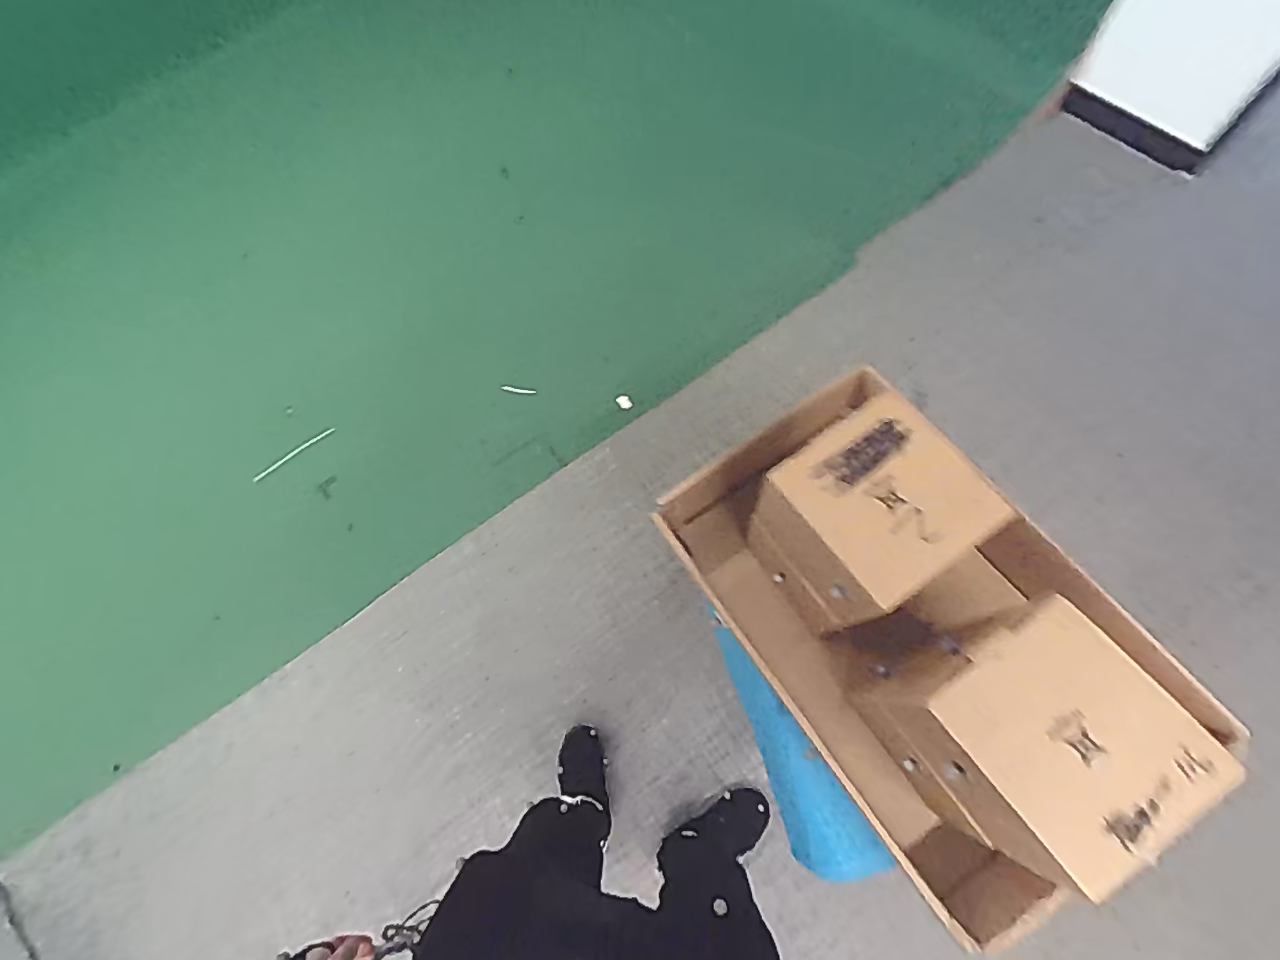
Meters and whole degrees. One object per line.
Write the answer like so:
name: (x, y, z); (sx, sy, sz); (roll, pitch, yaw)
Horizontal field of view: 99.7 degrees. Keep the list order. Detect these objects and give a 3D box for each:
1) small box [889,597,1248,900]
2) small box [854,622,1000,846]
small box: (0.376, 0.244, 0.522); (0.168, 0.176, 0.179); (-35, 66, -4)
small box: (0.397, 0.304, 0.673); (0.168, 0.176, 0.179); (-33, 68, -5)
